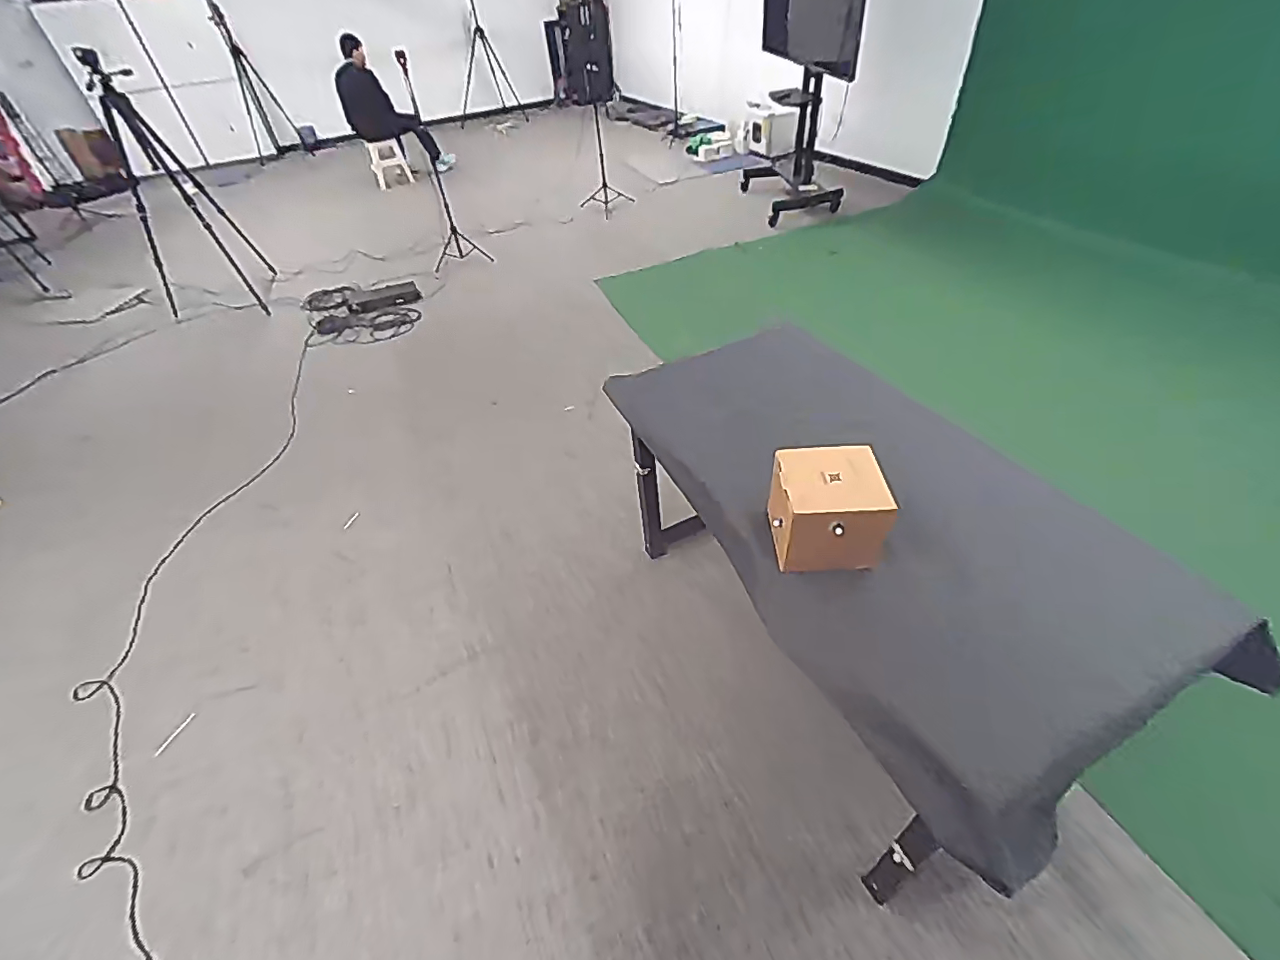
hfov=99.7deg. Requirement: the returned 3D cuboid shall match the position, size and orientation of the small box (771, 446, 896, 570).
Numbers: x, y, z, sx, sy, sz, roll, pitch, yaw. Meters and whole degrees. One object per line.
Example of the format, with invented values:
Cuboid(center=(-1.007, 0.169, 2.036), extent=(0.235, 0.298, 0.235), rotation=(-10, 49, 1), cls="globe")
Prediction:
Cuboid(center=(0.346, 0.055, 1.010), extent=(0.179, 0.176, 0.168), rotation=(-2, 44, 3), cls="small box")
